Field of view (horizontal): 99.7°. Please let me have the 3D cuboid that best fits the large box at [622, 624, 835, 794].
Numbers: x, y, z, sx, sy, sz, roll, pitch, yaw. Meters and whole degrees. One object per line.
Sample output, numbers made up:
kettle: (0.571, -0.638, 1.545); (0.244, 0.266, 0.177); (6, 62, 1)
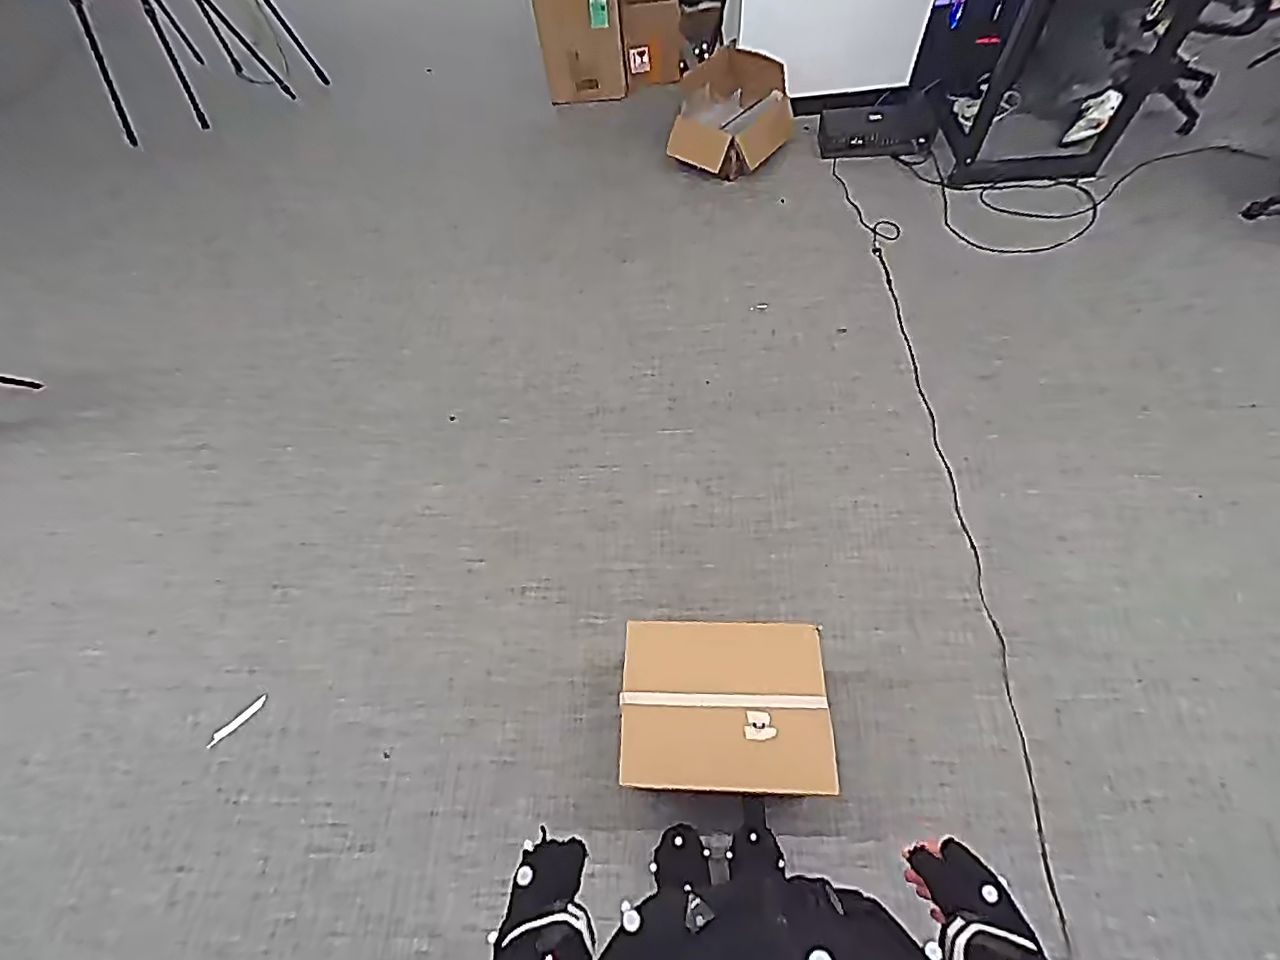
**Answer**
large box: (0.173, 0.519, 1.209); (0.408, 0.320, 0.320); (0, 60, 4)
